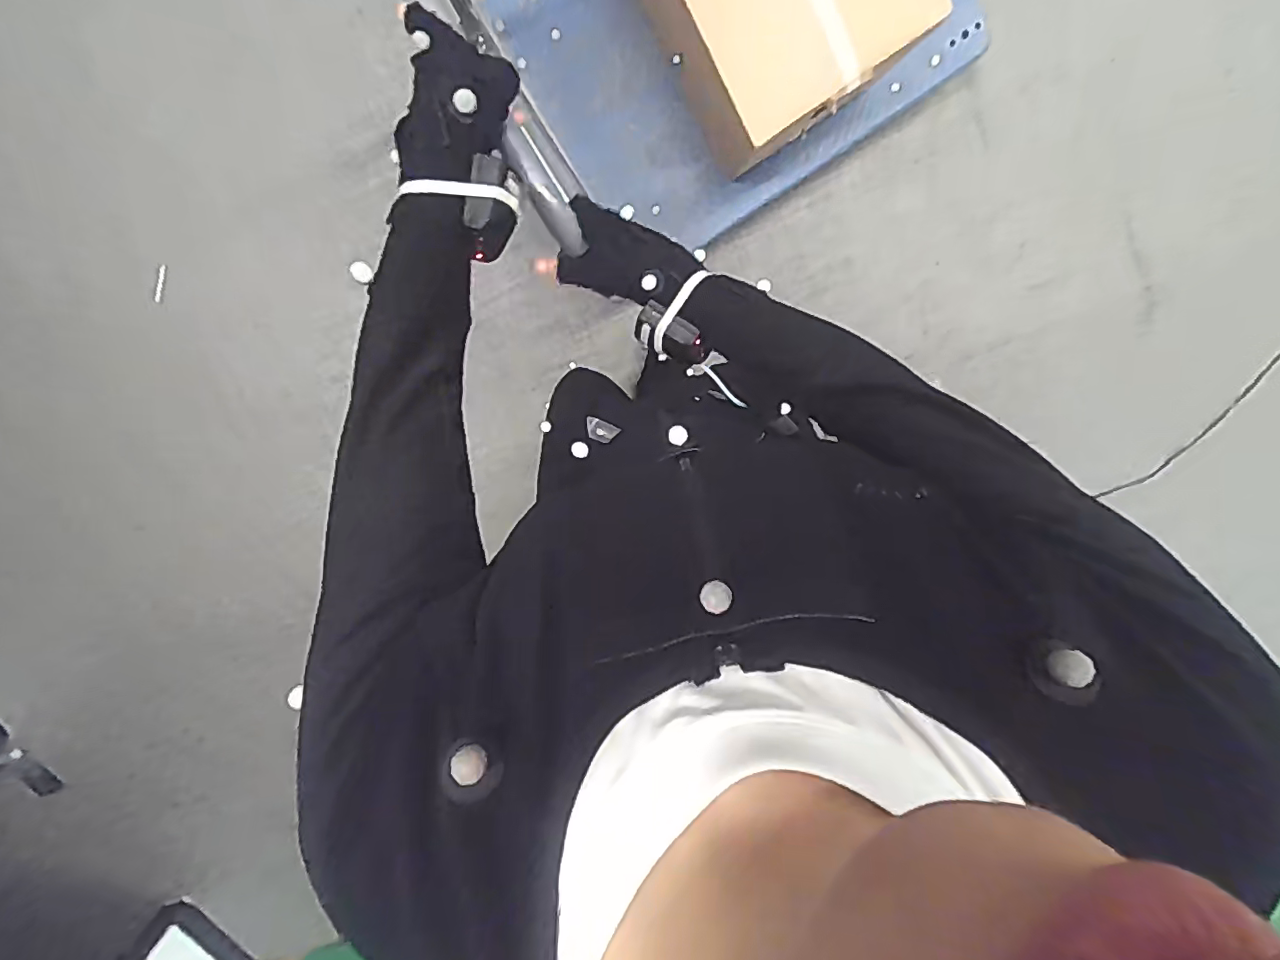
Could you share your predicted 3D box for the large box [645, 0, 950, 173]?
[{"bbox_3d":[0.209,-0.798,0.870,0.320,0.320,0.408,-31,106,11],"label":"large box"}]
